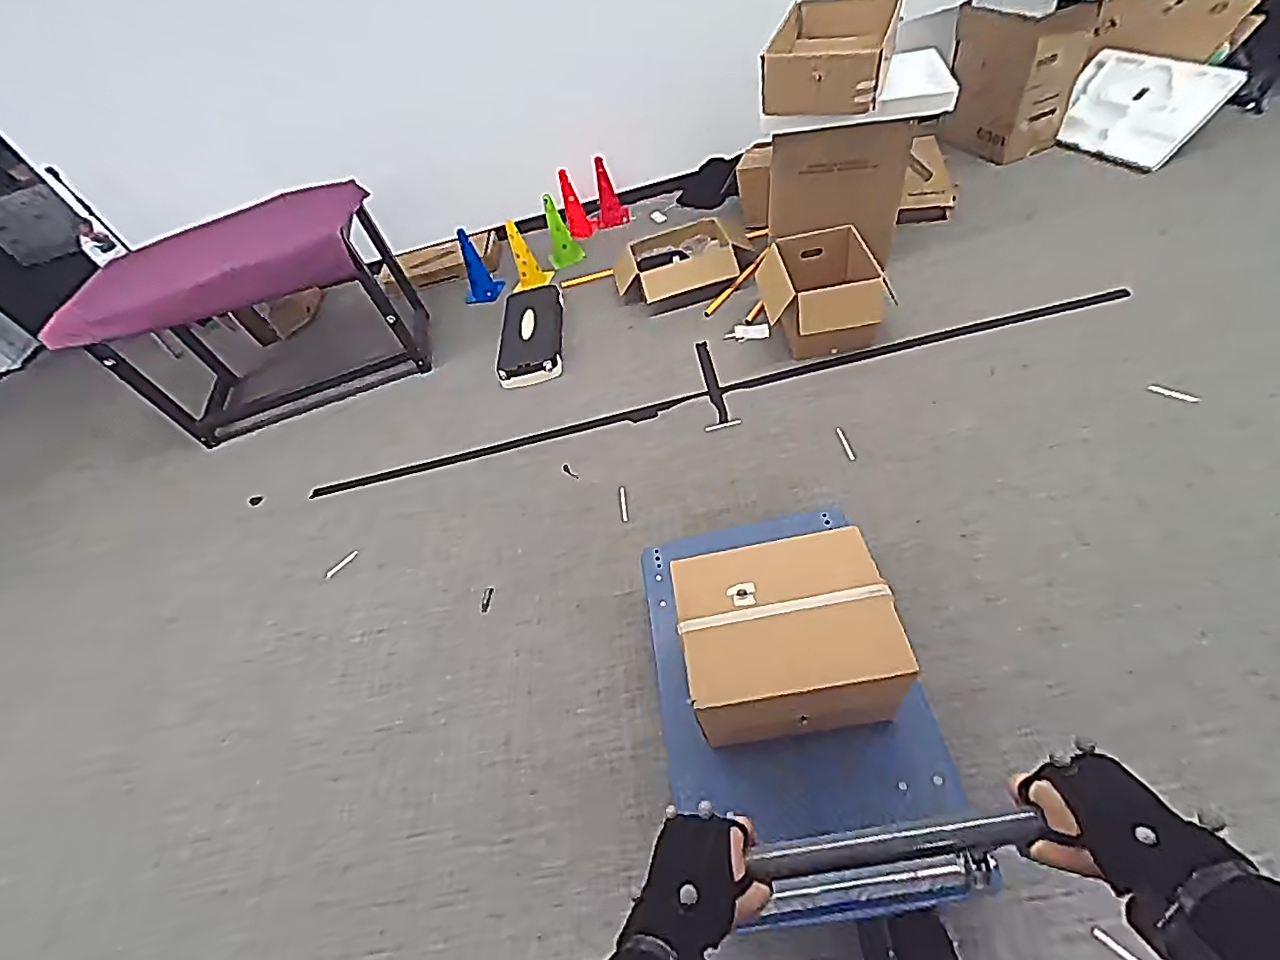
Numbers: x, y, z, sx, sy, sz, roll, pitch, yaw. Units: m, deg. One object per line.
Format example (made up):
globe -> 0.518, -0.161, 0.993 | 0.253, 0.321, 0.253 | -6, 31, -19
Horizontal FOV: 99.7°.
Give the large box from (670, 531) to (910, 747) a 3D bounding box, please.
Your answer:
large box -> 0.308, 0.358, 1.188 | 0.408, 0.320, 0.320 | -13, 49, 6
